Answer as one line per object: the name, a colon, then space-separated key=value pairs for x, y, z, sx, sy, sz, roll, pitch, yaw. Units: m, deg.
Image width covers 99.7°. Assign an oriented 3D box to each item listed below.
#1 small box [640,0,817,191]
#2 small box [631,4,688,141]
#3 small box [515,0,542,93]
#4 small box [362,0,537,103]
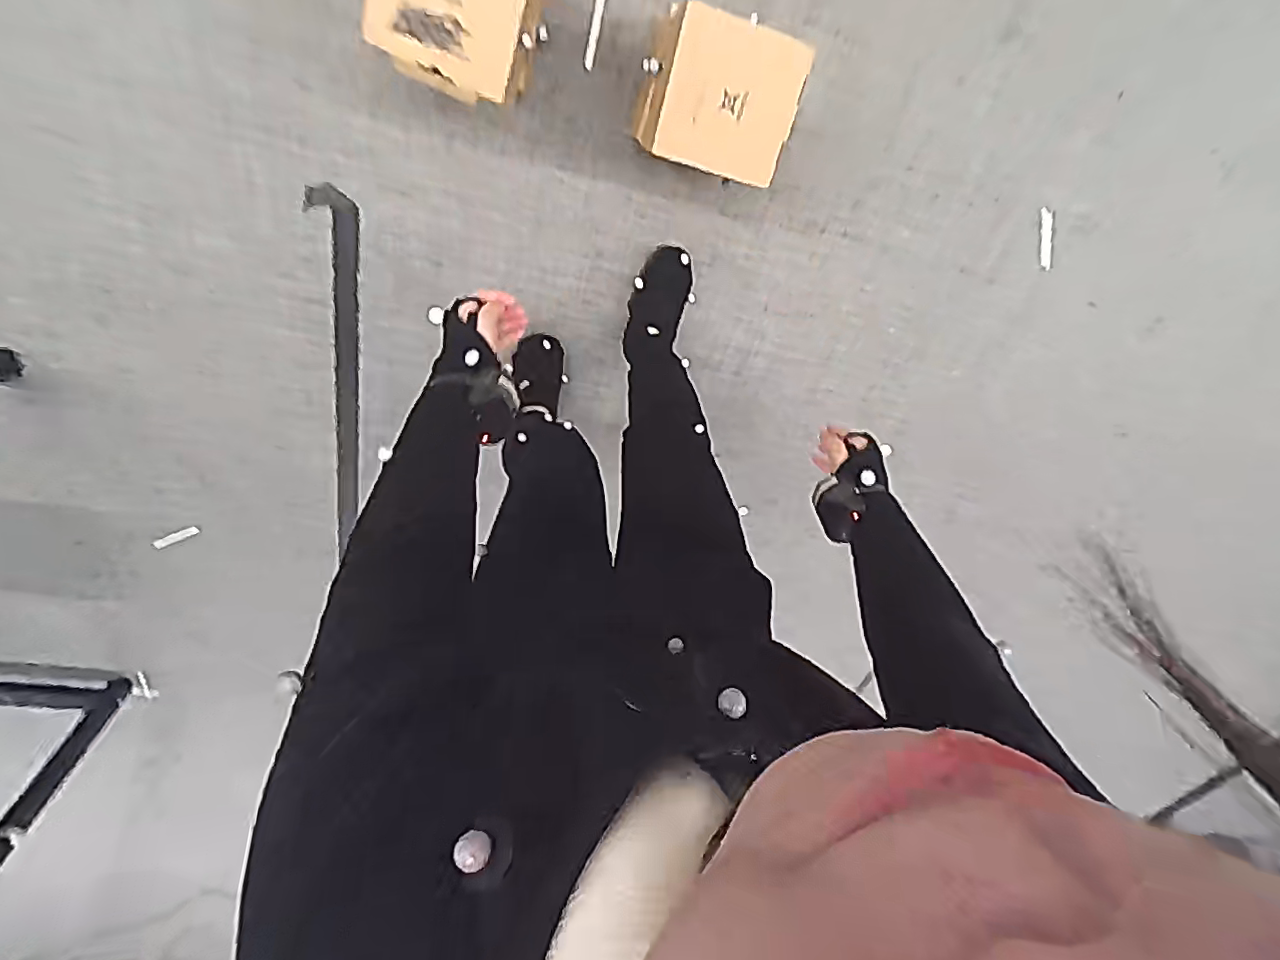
small box: x=0.110 y=-0.531 z=0.761 sx=0.179 sy=0.176 sz=0.168 roll=11 pitch=122 yaw=-13
small box: x=0.088 y=-0.631 z=0.888 sx=0.168 sy=0.176 sz=0.179 roll=12 pitch=123 yaw=-15
small box: x=-0.241 y=-0.702 z=0.798 sx=0.179 sy=0.176 sz=0.168 roll=12 pitch=123 yaw=-16
small box: x=-0.222 y=-0.601 z=0.669 sx=0.168 sy=0.176 sz=0.179 roll=16 pitch=121 yaw=-18
